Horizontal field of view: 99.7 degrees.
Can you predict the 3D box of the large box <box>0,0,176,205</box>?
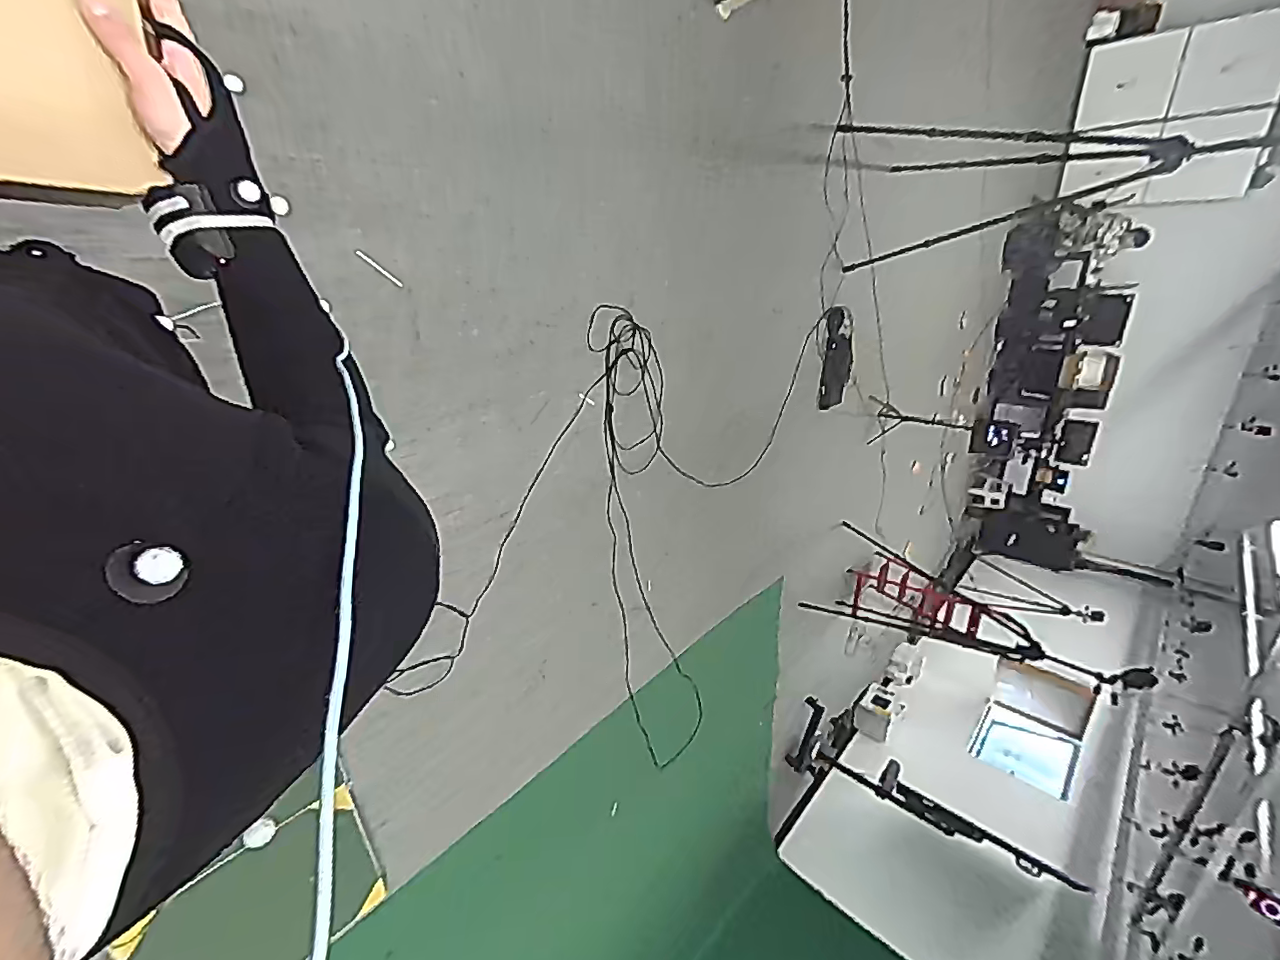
[{"bbox_3d":[-0.635,-0.381,0.361,0.408,0.320,0.320,-20,121,-45],"label":"large box"}]
